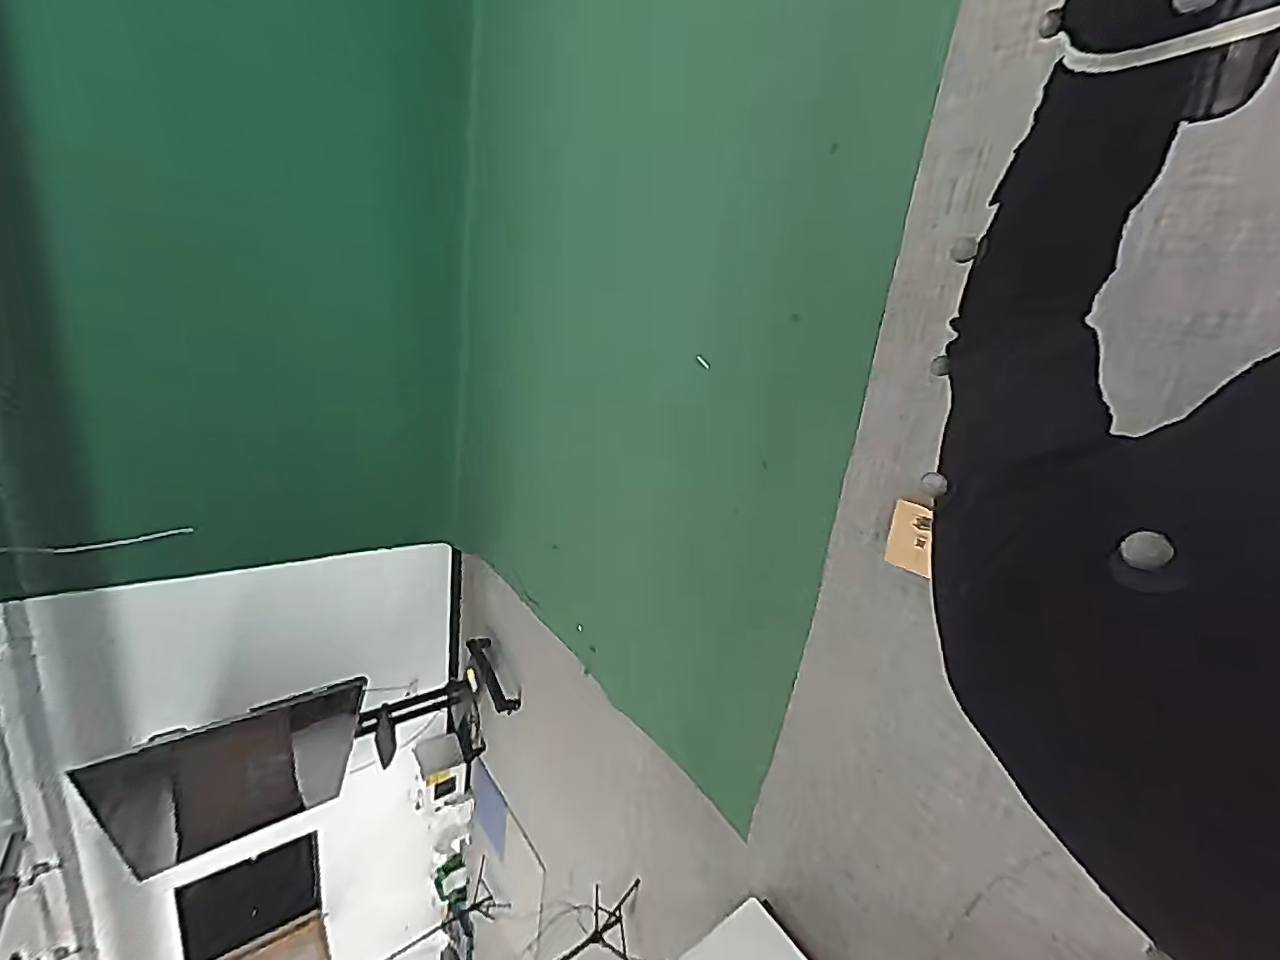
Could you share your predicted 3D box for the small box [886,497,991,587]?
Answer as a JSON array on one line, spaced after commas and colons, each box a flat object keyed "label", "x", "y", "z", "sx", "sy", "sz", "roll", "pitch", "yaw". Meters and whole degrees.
[{"label": "small box", "x": 0.766, "y": 0.148, "z": 1.383, "sx": 0.168, "sy": 0.176, "sz": 0.179, "roll": 24, "pitch": 112, "yaw": 49}]
